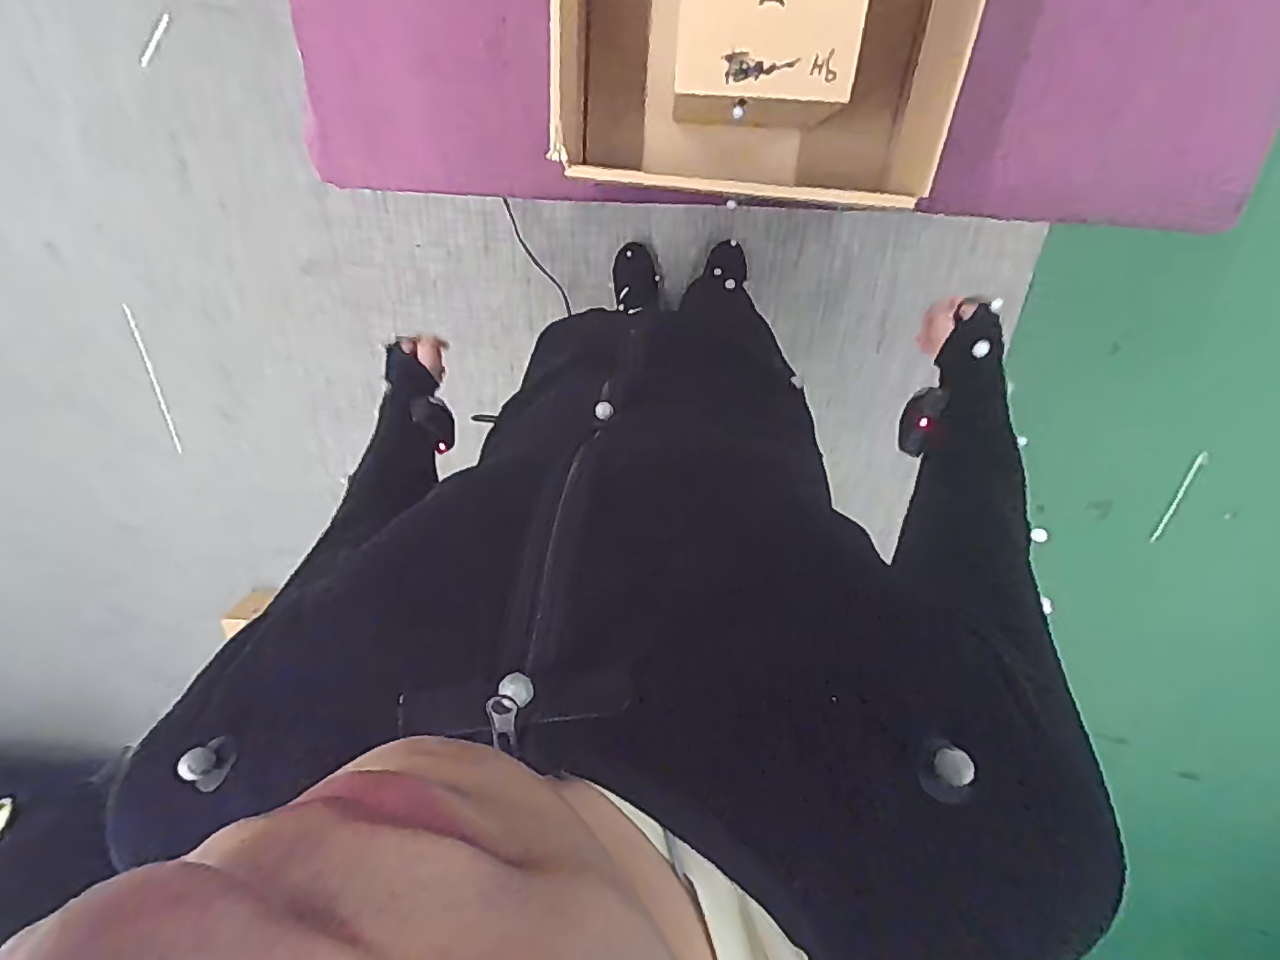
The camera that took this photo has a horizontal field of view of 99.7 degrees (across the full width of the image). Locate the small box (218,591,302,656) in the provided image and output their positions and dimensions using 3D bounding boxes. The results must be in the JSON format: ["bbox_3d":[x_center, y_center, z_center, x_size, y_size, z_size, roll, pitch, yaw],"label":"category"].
[{"bbox_3d":[-1.372,0.521,1.972,0.179,0.176,0.168,1,115,3],"label":"small box"}]
